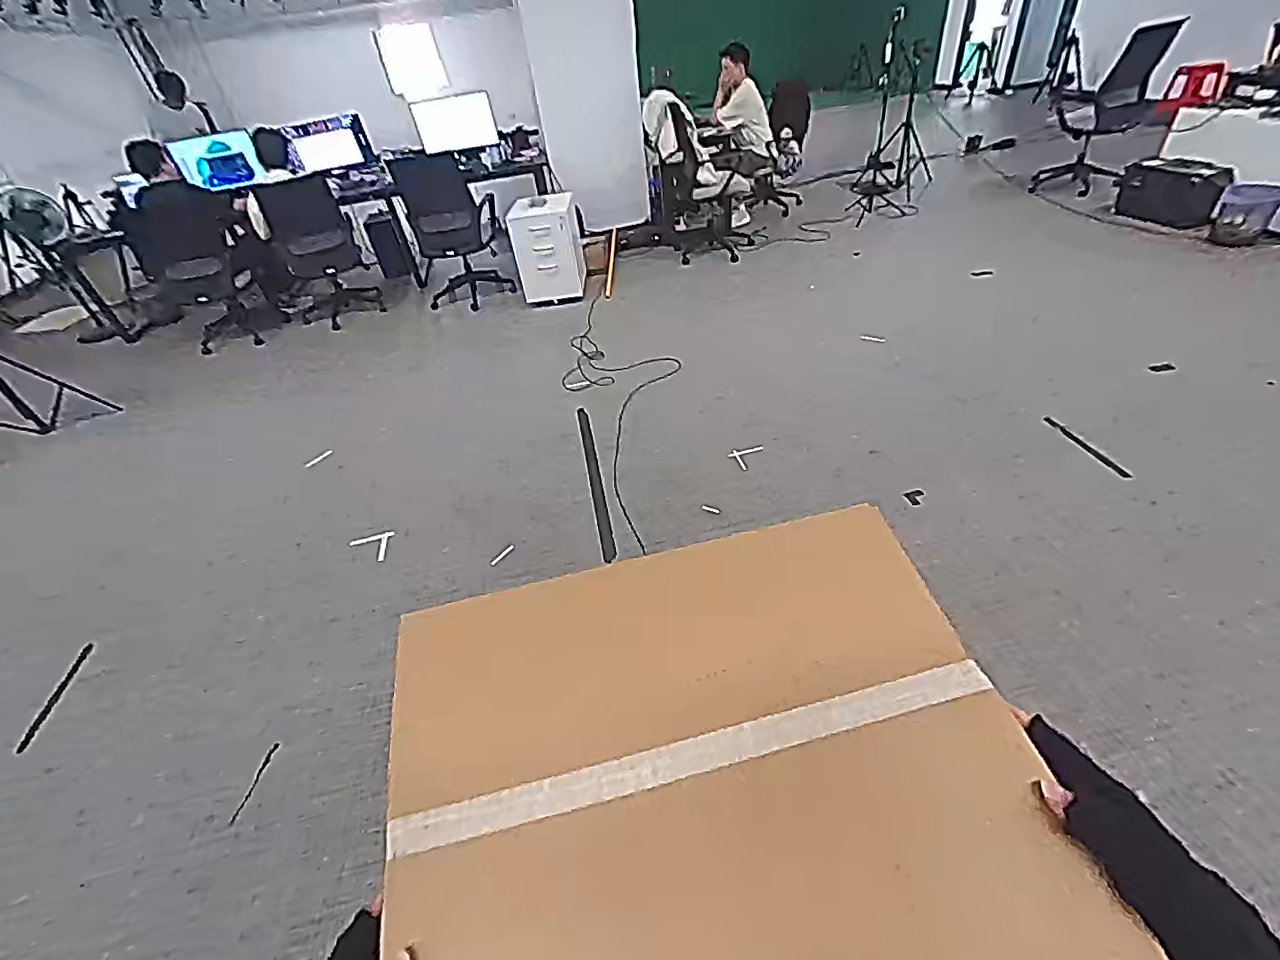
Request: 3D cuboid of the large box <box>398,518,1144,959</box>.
[{"bbox_3d":[0.057,0.284,0.474,0.408,0.320,0.320,-14,50,-4],"label":"large box"}]
